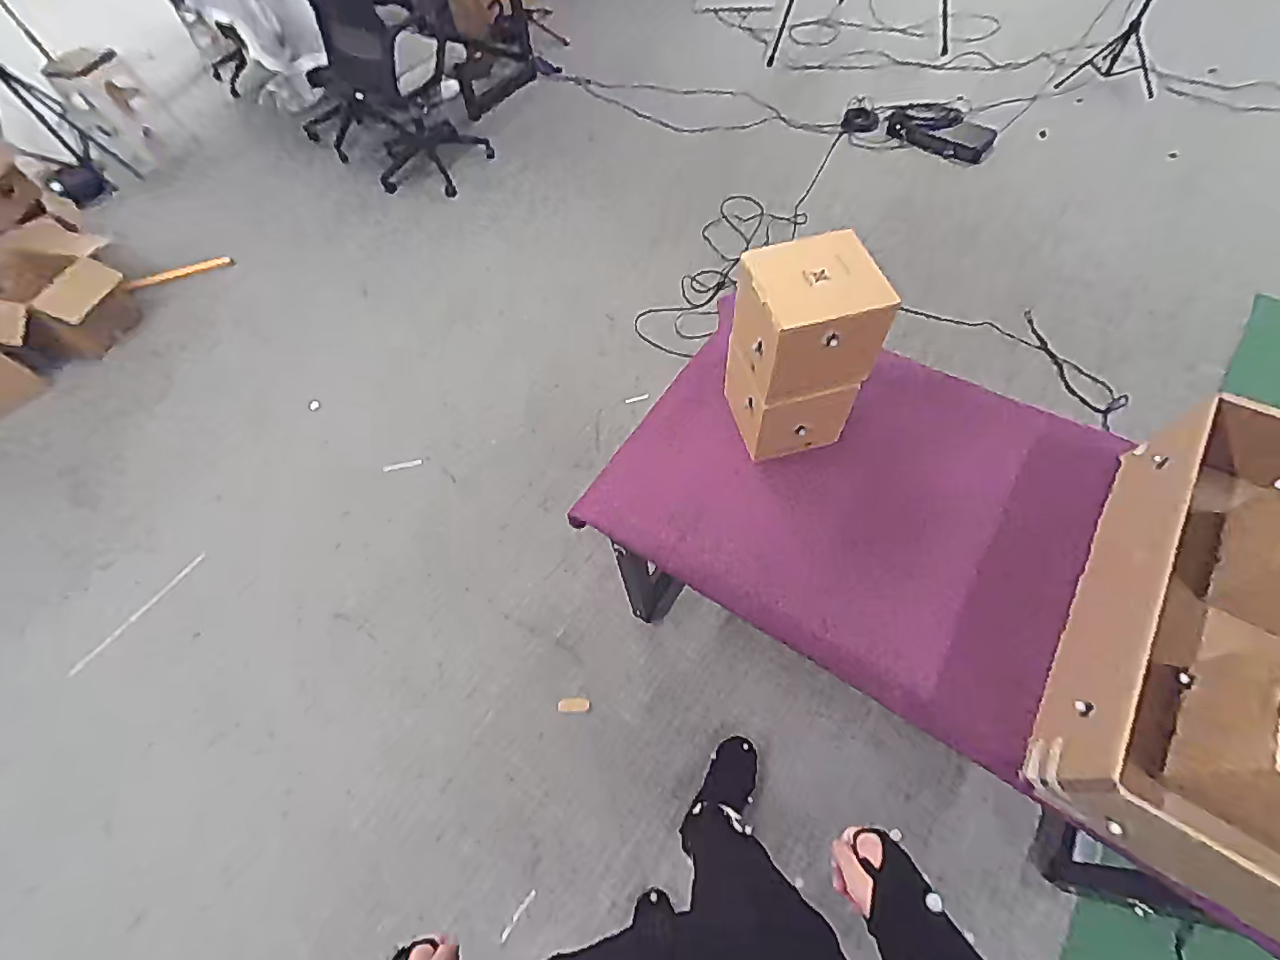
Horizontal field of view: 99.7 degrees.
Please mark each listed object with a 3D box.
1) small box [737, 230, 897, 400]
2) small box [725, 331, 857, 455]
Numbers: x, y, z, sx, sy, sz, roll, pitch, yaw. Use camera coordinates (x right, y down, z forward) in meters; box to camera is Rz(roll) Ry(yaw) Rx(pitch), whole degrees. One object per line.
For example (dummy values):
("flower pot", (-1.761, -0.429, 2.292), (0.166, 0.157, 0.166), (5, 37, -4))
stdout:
("small box", (0.254, -0.245, 0.832), (0.179, 0.176, 0.168), (-14, 61, -3))
("small box", (0.259, -0.163, 0.973), (0.168, 0.176, 0.179), (-14, 60, -4))
